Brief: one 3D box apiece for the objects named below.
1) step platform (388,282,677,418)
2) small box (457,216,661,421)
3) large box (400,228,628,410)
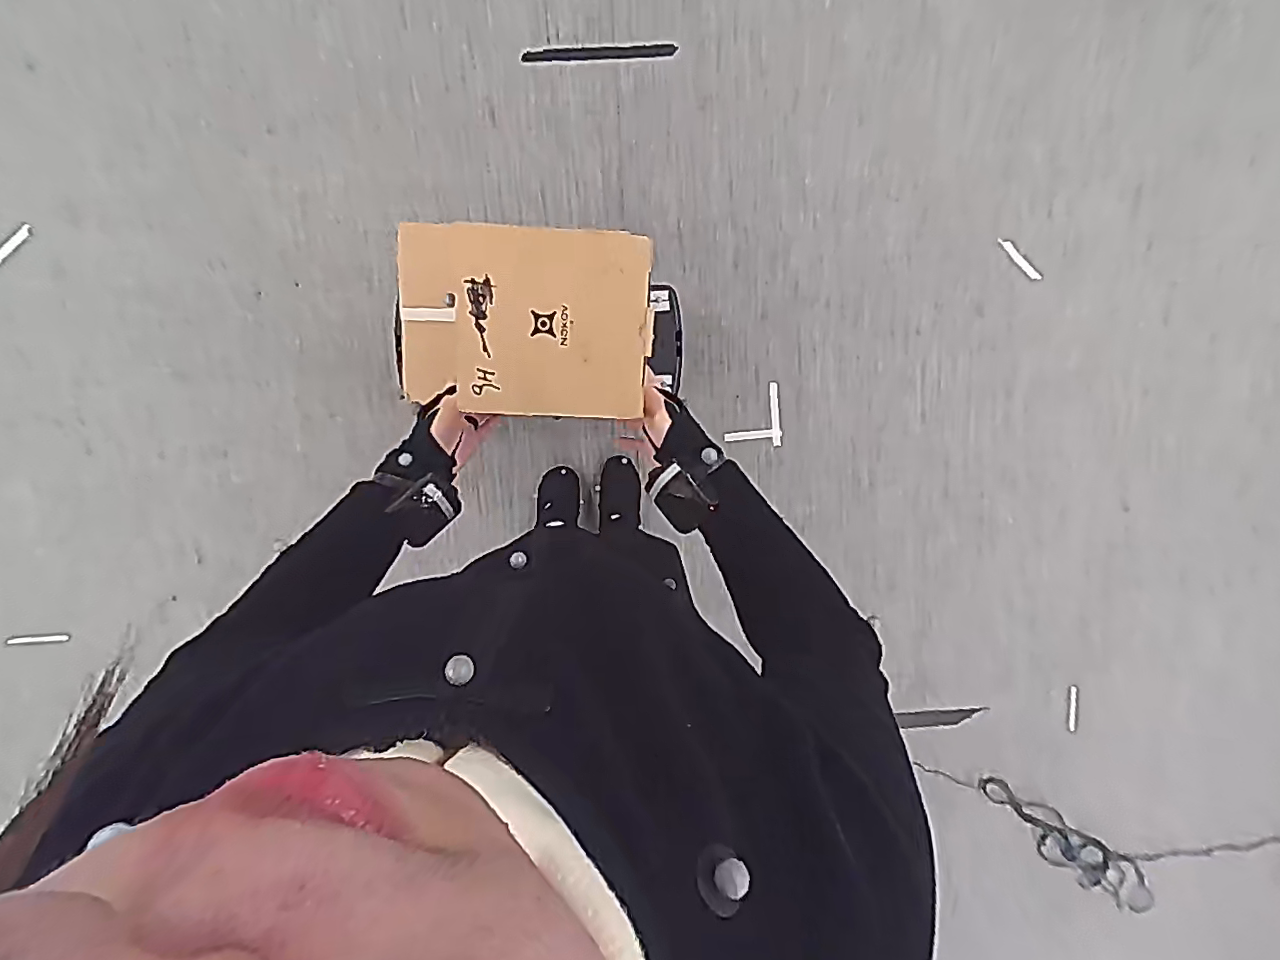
[{"bbox_3d":[-0.250,-0.313,1.335,0.684,0.204,0.286,3,96,-2],"label":"step platform"},{"bbox_3d":[-0.082,-0.156,0.555,0.179,0.176,0.168,2,102,-7],"label":"small box"},{"bbox_3d":[-0.218,-0.298,1.098,0.408,0.320,0.320,0,96,-2],"label":"large box"}]
